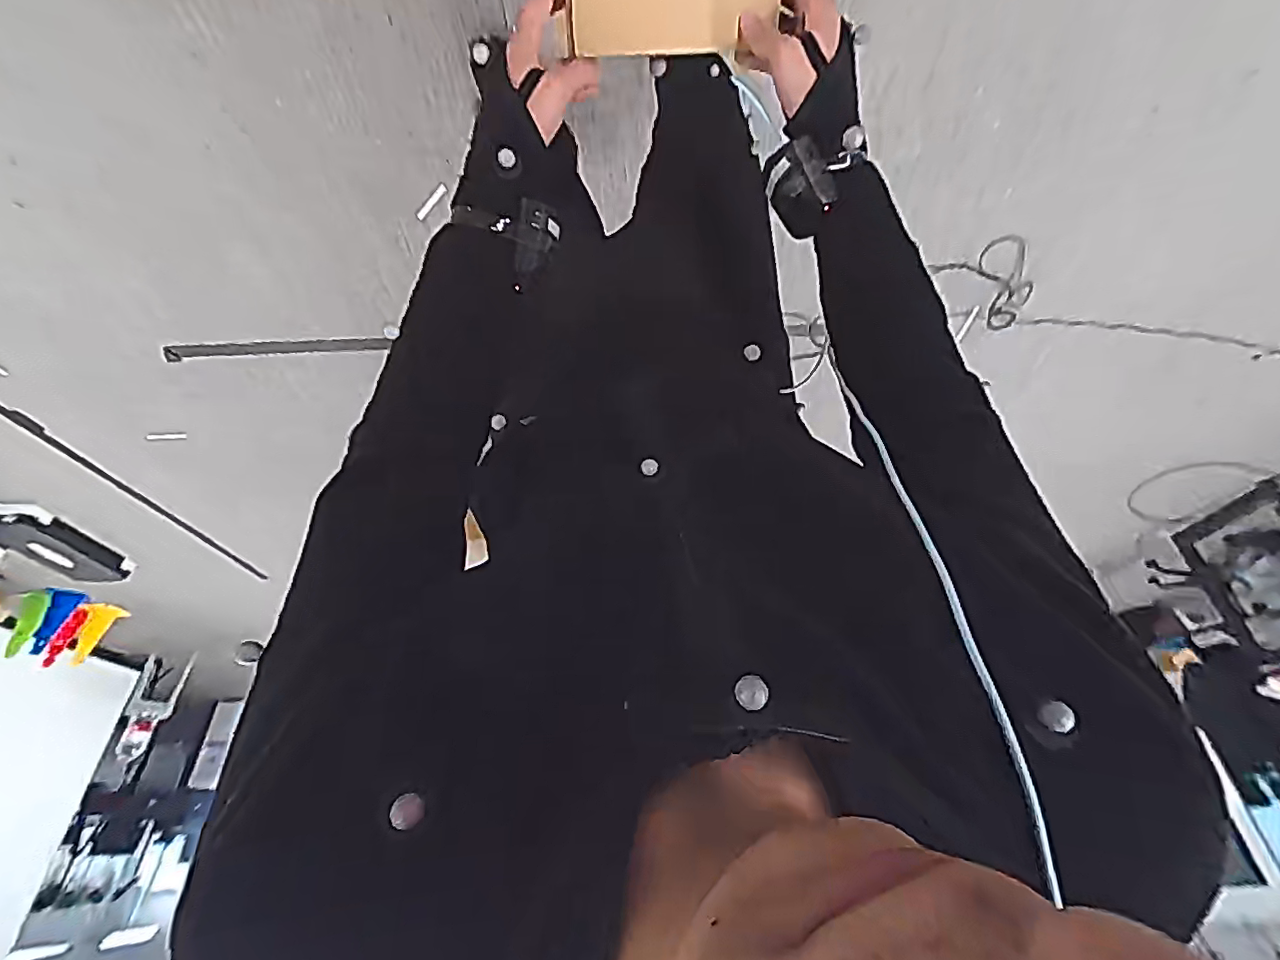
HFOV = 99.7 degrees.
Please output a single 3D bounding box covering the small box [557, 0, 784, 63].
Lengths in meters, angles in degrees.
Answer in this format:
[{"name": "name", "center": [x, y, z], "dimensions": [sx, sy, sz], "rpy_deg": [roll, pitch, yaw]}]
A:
[{"name": "small box", "center": [0.018, -0.463, 0.455], "dimensions": [0.179, 0.176, 0.168], "rpy_deg": [-7, 132, -6]}]
